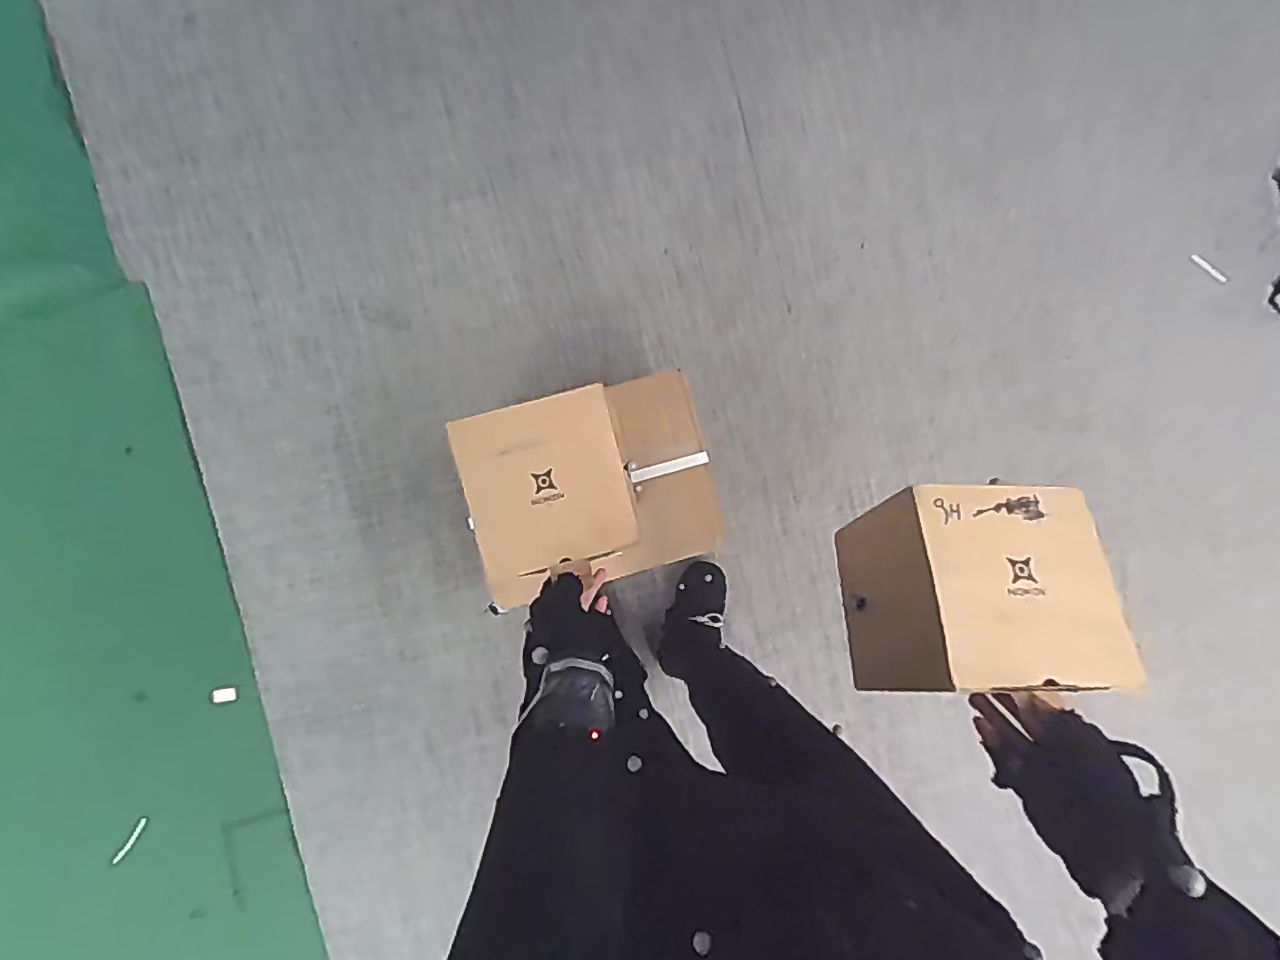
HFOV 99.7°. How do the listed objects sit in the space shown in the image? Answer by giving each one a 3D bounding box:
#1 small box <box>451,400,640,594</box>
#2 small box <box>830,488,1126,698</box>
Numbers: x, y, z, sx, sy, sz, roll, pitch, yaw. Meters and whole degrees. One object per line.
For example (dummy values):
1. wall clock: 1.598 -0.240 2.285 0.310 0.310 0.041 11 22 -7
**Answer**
1. small box: -0.097 0.013 0.644 0.168 0.176 0.179 -15 93 0
2. small box: 0.309 0.116 0.537 0.168 0.176 0.179 1 70 -6
